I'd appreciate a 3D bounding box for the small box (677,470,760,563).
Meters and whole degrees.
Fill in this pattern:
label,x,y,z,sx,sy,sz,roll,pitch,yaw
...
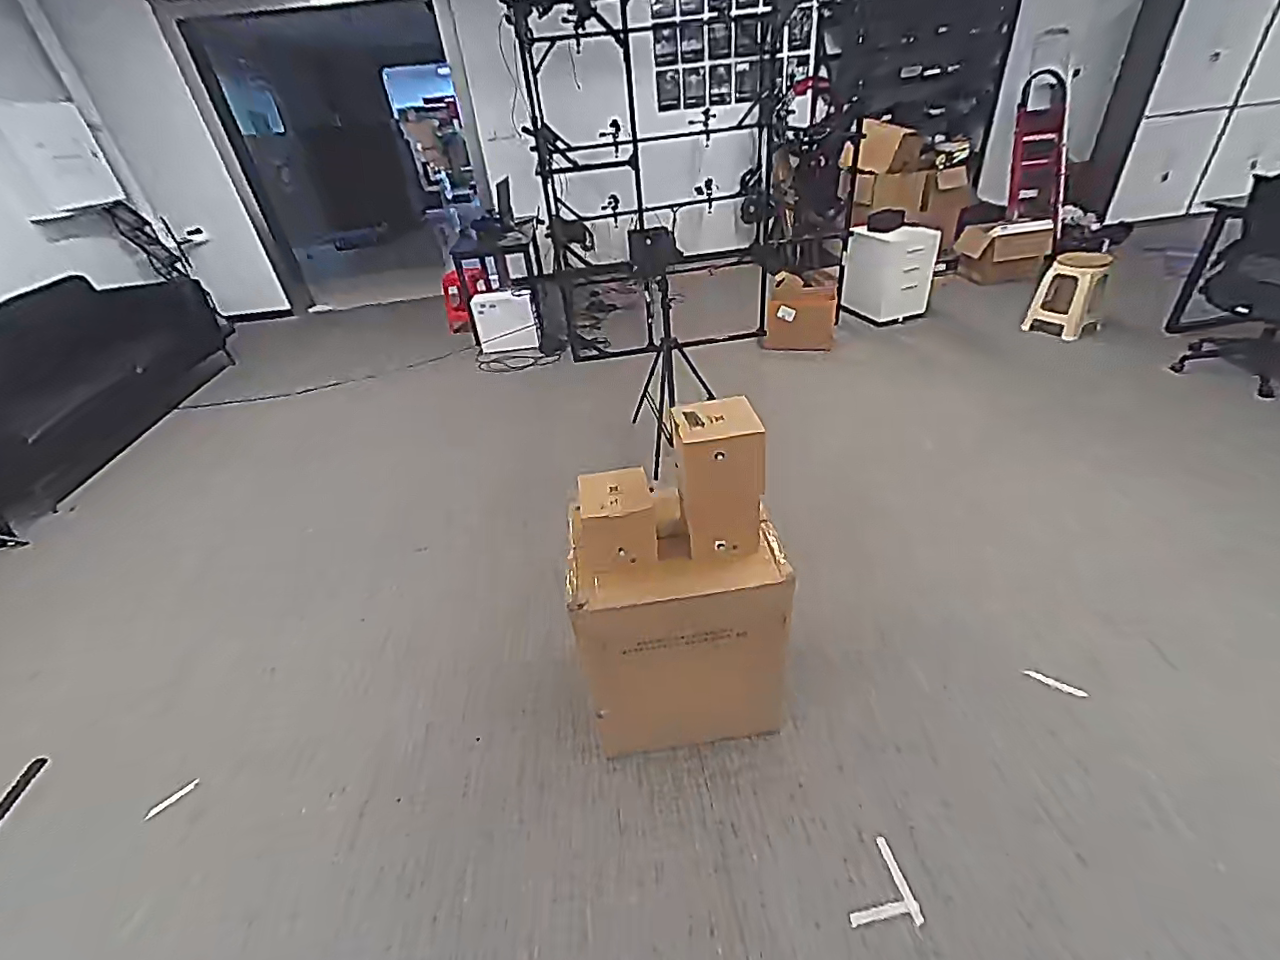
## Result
label,x,y,z,sx,sy,sz,roll,pitch,yaw
small box,0.187,0.075,1.312,0.168,0.176,0.179,-10,36,-1

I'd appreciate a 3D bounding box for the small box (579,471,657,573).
label,x,y,z,sx,sy,sz,roll,pitch,yaw
small box,-0.055,0.101,1.313,0.168,0.176,0.179,-8,35,-4

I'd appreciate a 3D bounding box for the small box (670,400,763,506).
label,x,y,z,sx,sy,sz,roll,pitch,yaw
small box,0.171,-0.058,1.217,0.179,0.176,0.168,-9,35,-1
